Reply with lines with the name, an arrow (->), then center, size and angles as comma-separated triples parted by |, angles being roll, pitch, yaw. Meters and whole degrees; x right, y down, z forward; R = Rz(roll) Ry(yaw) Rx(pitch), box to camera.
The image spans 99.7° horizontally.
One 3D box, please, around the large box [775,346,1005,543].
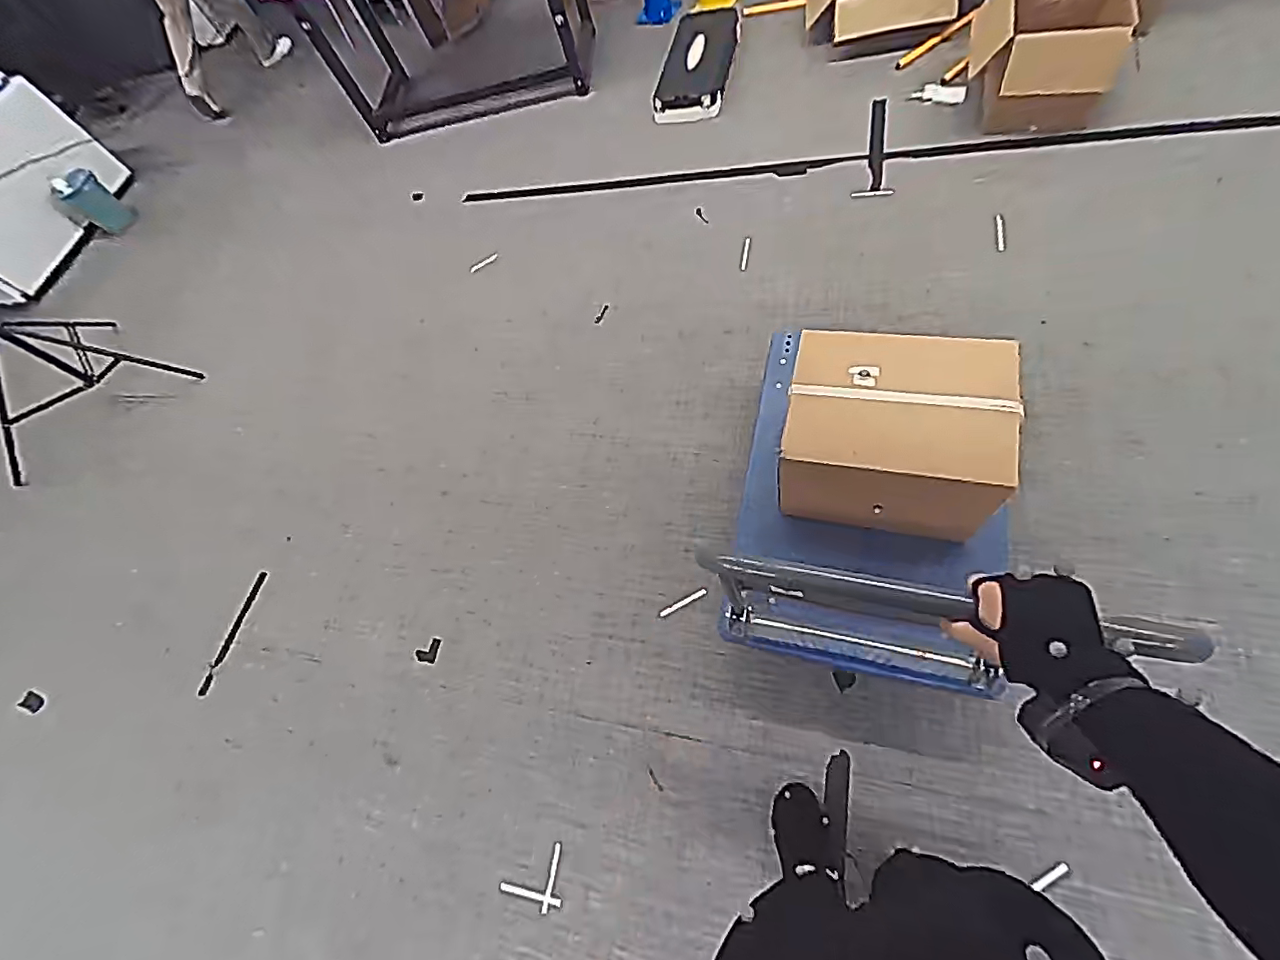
large box -> 0.529, -0.072, 1.196 | 0.408, 0.320, 0.320 | 8, 67, 19
